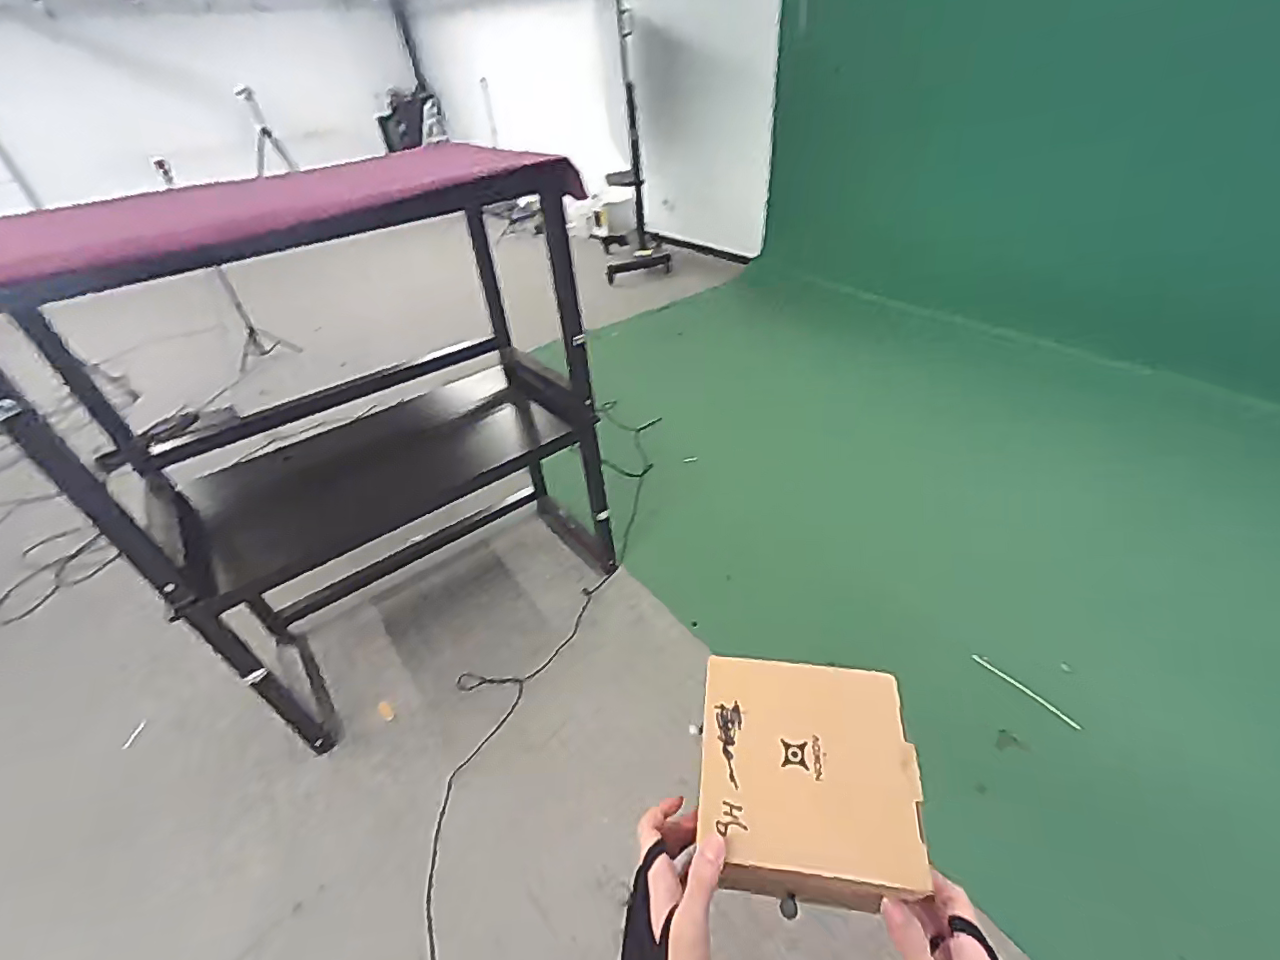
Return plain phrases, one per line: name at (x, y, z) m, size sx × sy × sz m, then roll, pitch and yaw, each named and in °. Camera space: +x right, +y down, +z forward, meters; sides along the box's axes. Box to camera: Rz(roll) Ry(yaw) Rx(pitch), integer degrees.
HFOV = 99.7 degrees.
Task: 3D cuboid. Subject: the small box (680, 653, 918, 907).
small box at (0.134, 0.289, 0.518) m, size 0.179 × 0.176 × 0.168 m, roll 4°, pitch 47°, yaw 7°
